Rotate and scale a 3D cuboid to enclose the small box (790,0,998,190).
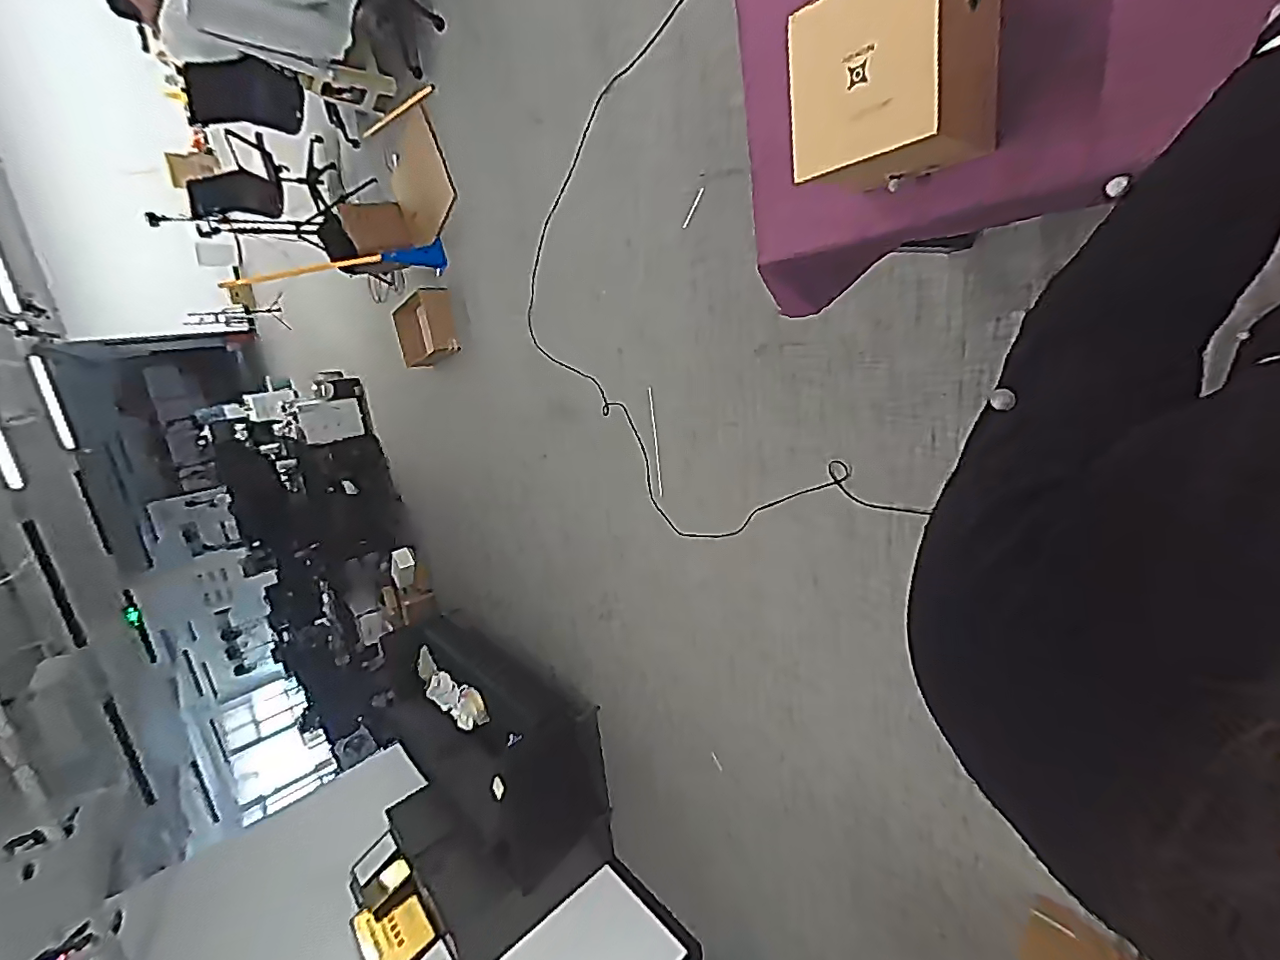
[{"bbox_3d":[0.294,-0.458,0.629,0.168,0.176,0.179,11,113,49],"label":"small box"}]
